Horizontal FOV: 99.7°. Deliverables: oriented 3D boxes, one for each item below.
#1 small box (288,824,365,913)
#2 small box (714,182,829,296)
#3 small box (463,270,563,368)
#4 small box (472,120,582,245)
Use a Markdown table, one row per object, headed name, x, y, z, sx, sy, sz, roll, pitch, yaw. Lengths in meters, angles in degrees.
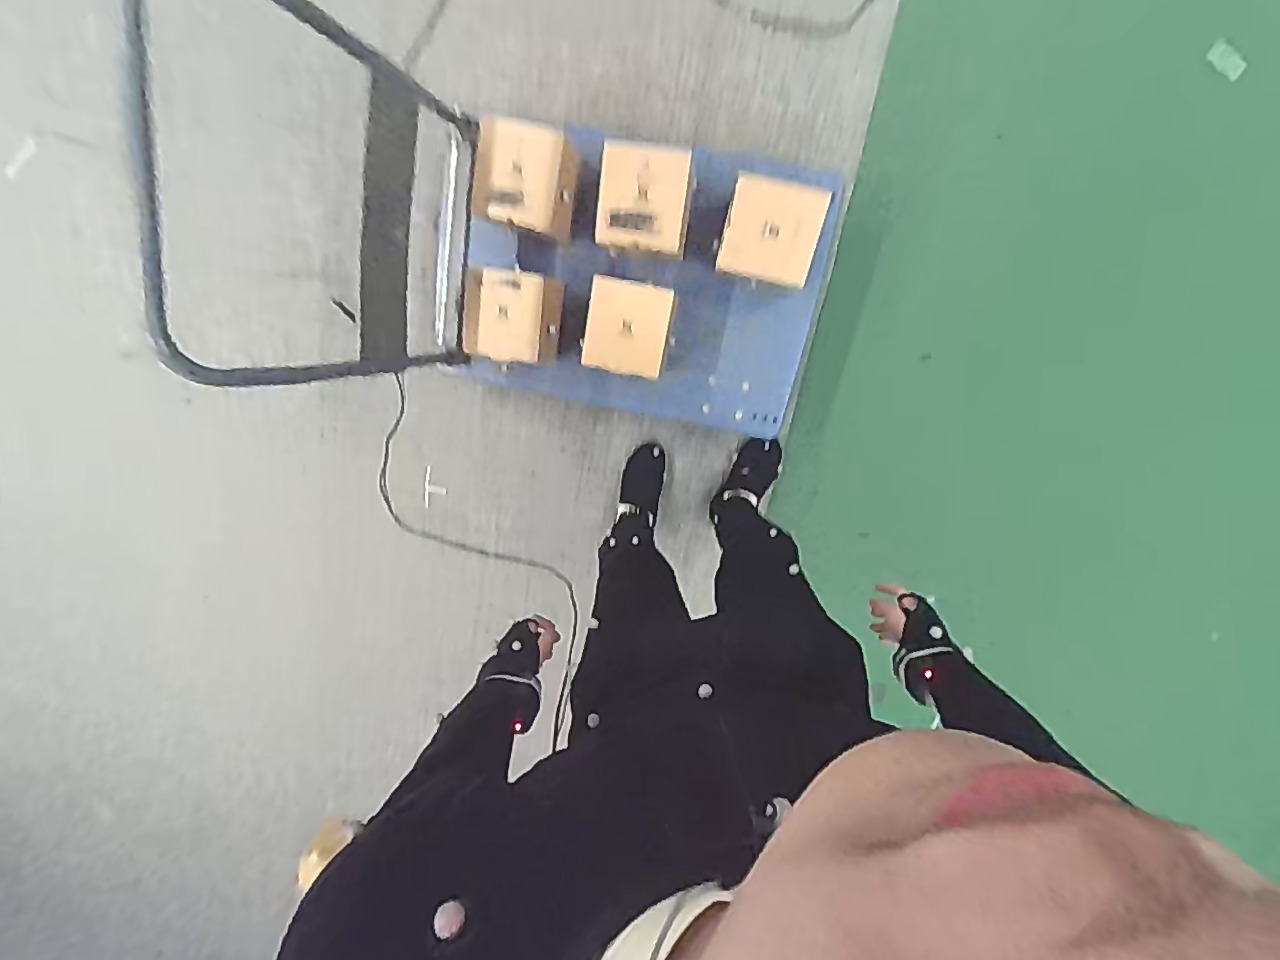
| name | x | y | z | sx | sy | sz | roll | pitch | yaw |
| --- | --- | --- | --- | --- | --- | --- | --- | --- | --- |
| small box | -1.132 | 1.405 | 1.964 | 0.168 | 0.176 | 0.179 | 22 | 106 | -2 |
| small box | 0.255 | -0.475 | 1.092 | 0.179 | 0.176 | 0.168 | 15 | 108 | 3 |
| small box | -0.274 | -0.351 | 1.189 | 0.168 | 0.176 | 0.179 | 10 | 107 | 4 |
| small box | -0.225 | -0.600 | 1.115 | 0.168 | 0.176 | 0.179 | 14 | 106 | 2 |
